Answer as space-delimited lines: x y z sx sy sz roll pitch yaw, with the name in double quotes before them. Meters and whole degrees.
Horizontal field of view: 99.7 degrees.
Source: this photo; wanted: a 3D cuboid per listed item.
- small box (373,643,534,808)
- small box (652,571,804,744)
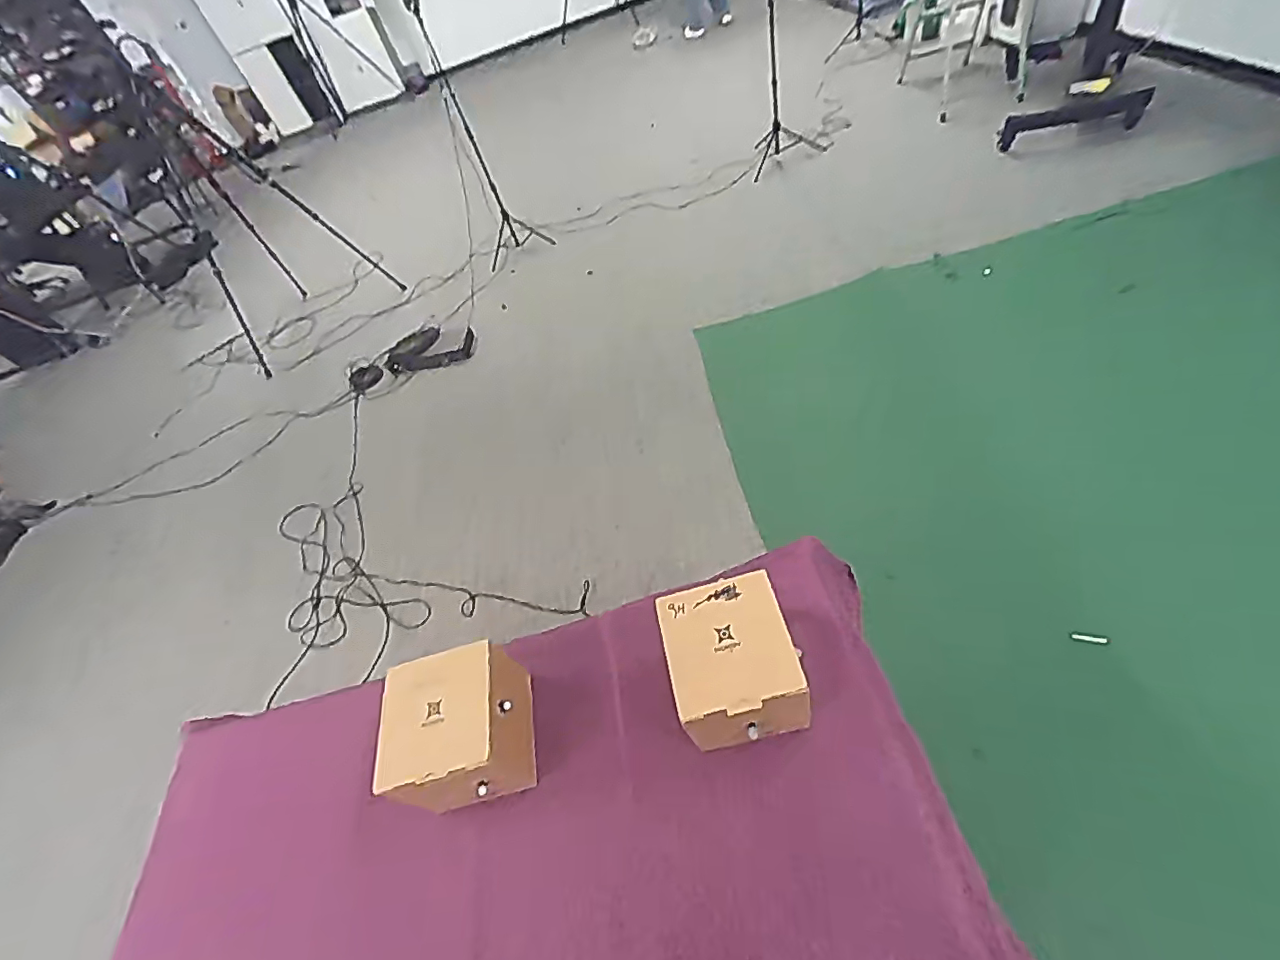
"small box" -0.269 0.378 0.818 0.168 0.176 0.179 -17 49 4
"small box" 0.129 0.263 0.777 0.168 0.176 0.179 -17 50 5
